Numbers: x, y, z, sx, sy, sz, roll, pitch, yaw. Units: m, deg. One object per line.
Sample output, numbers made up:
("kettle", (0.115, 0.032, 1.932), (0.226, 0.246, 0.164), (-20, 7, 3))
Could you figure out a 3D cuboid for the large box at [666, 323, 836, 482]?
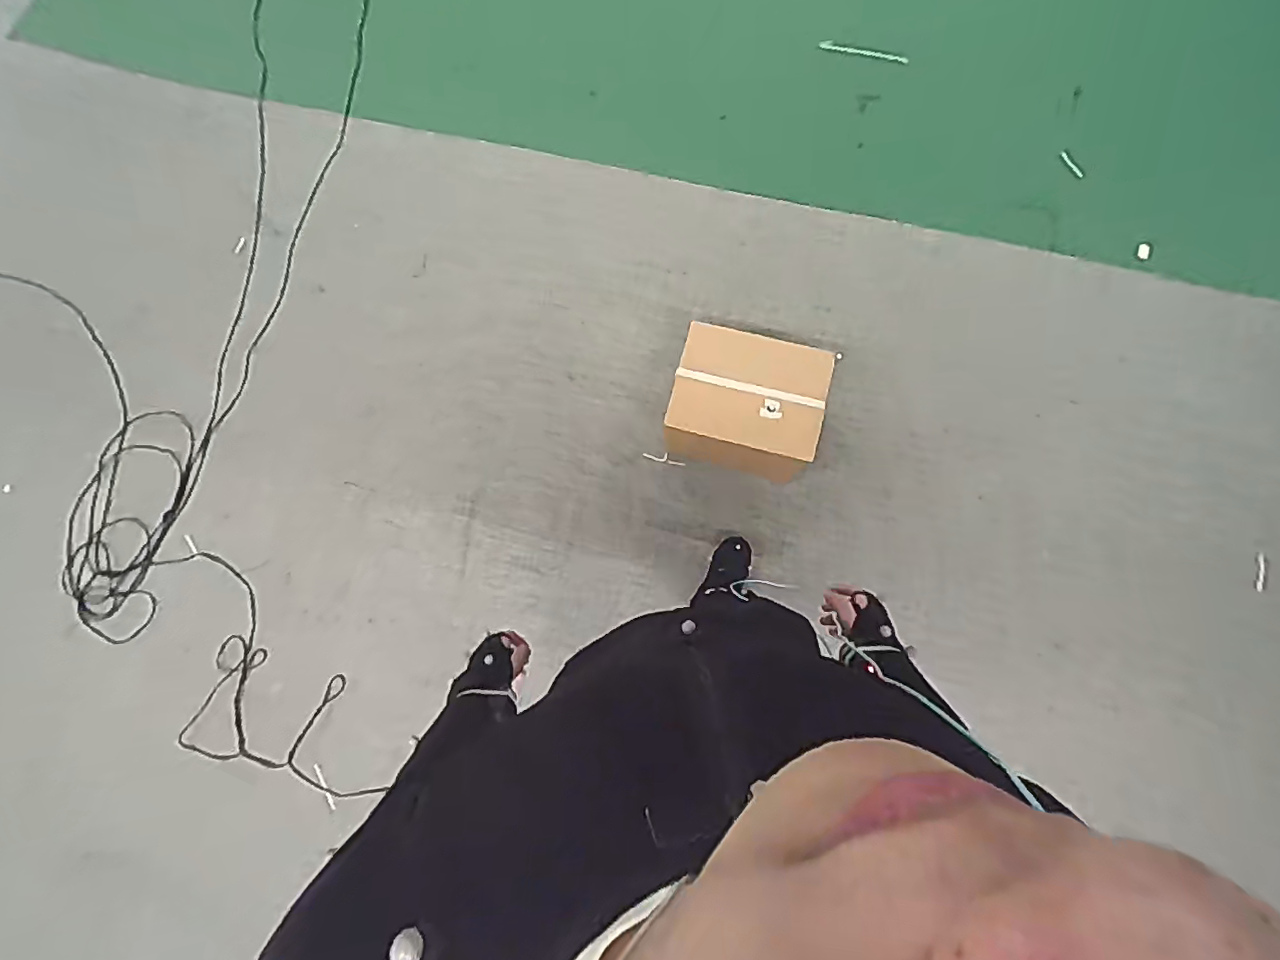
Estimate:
("large box", (0.302, -0.212, 1.580), (0.408, 0.320, 0.320), (15, 80, 6))
